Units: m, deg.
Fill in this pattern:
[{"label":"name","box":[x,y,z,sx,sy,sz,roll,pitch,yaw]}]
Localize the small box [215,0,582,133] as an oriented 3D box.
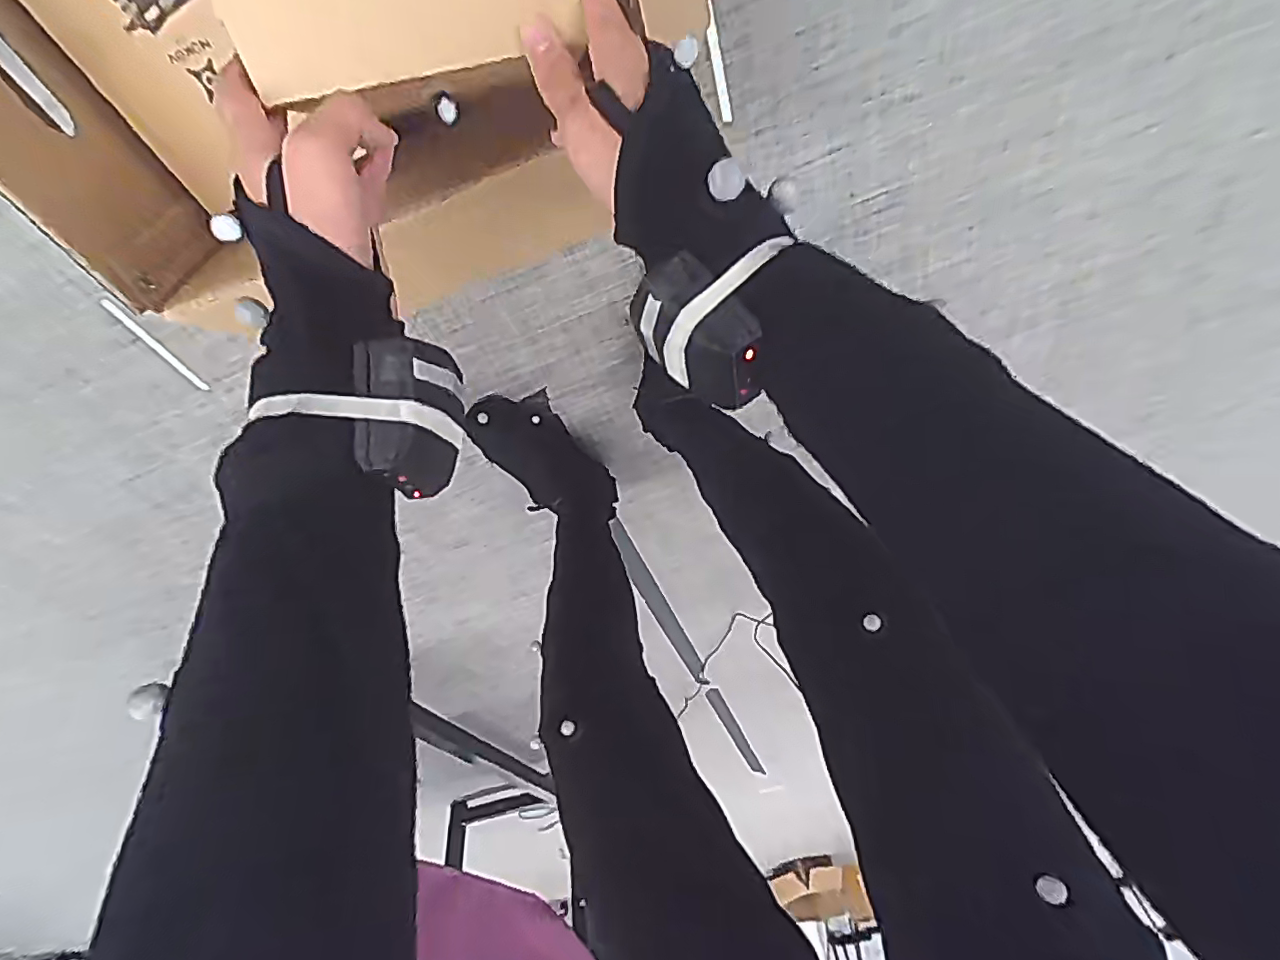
[{"label":"small box","box":[-0.133,-0.307,0.300,0.168,0.176,0.179,-14,121,-4]}]
